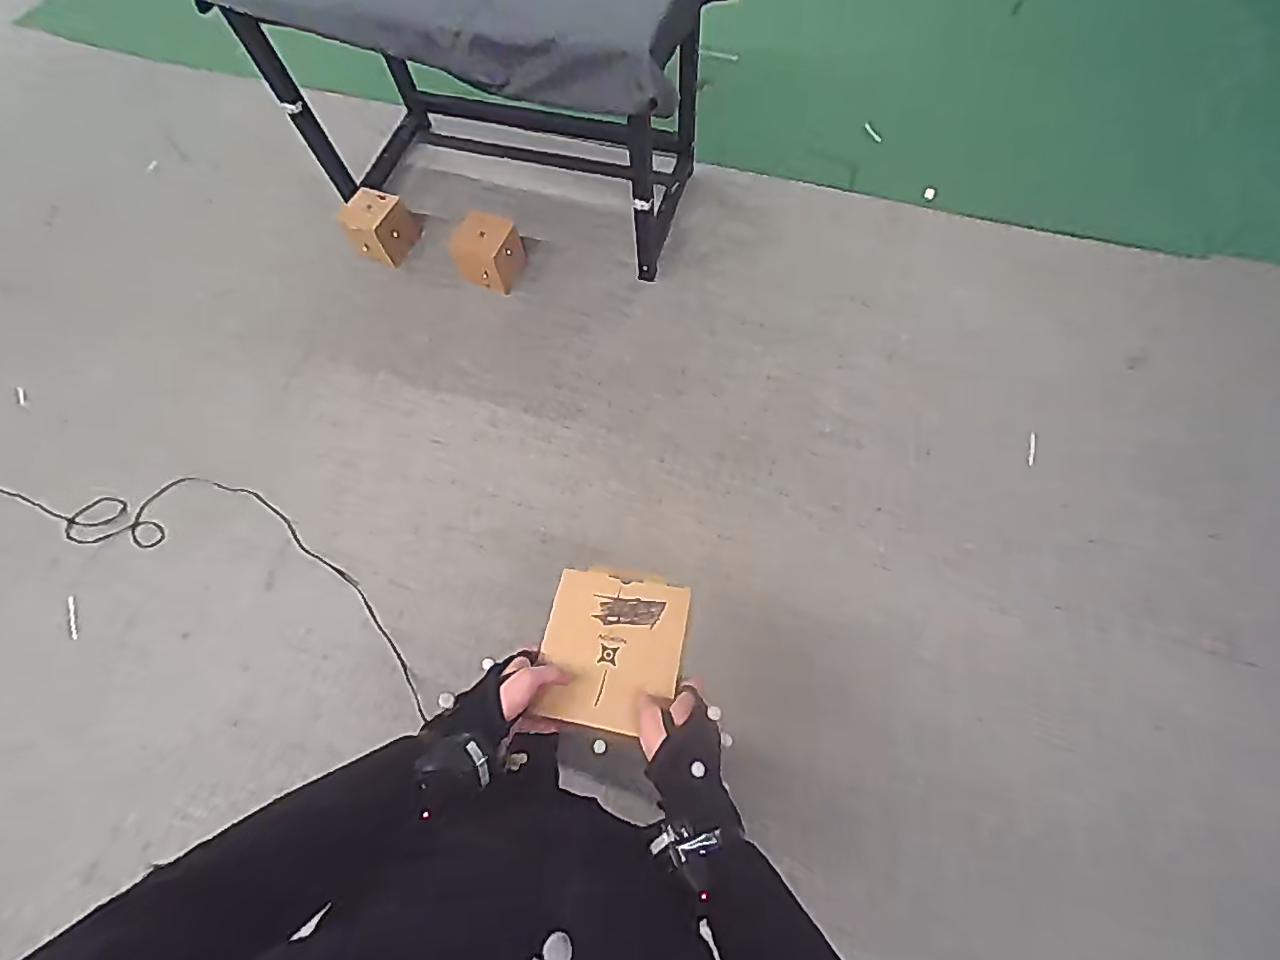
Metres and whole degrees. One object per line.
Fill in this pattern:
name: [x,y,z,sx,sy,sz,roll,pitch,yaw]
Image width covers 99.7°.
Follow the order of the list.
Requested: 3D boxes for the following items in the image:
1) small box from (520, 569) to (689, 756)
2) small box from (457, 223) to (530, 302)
small box: [-0.032,0.237,0.695,0.168,0.176,0.179,7,59,11]
small box: [-0.503,-0.752,1.887,0.168,0.176,0.179,18,68,10]
